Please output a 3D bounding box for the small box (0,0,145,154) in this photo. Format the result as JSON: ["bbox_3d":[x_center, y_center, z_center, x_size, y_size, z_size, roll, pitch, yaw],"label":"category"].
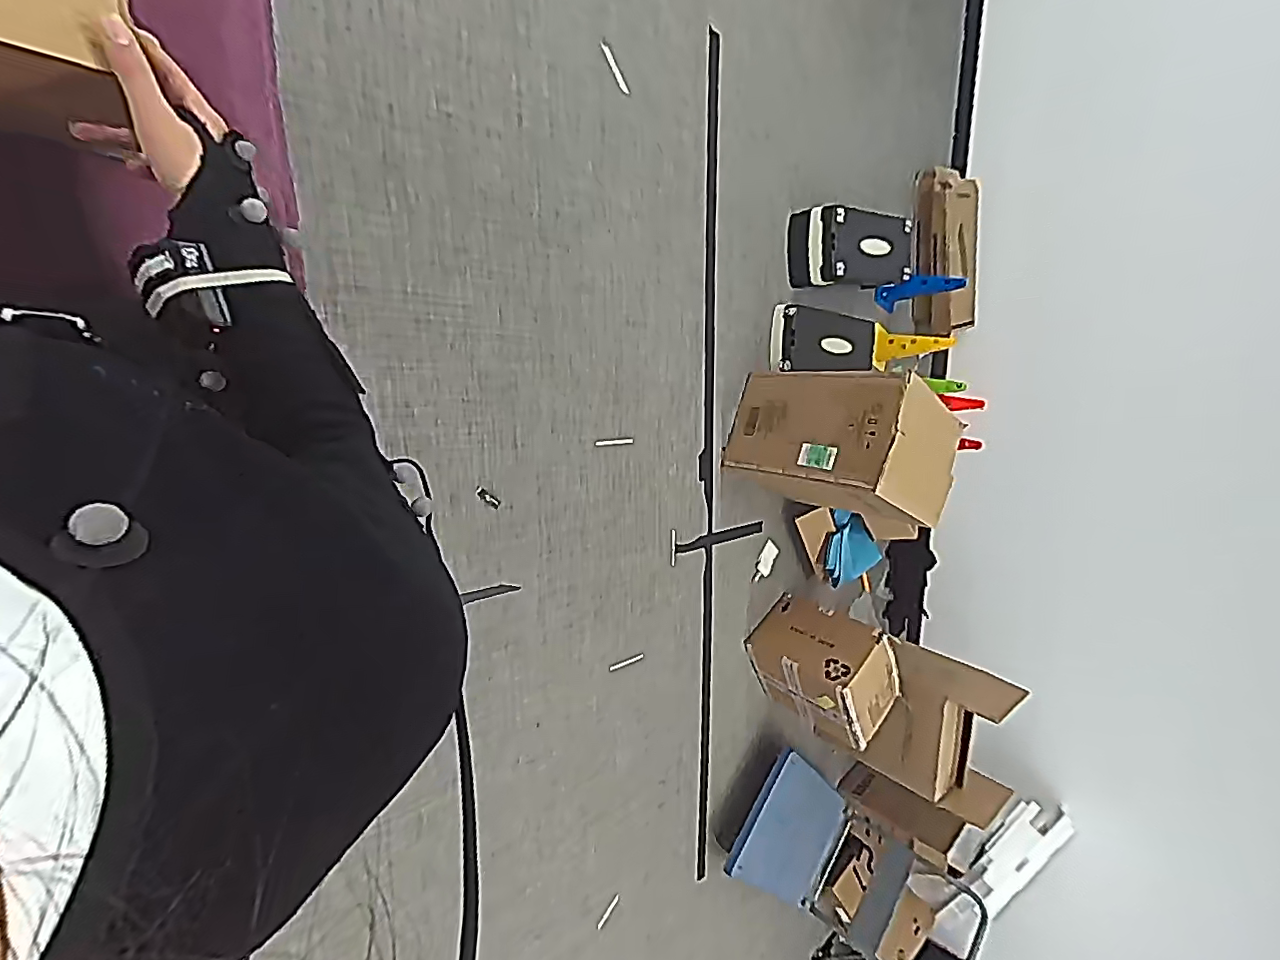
[{"bbox_3d":[-0.437,-0.334,0.336,0.179,0.176,0.168,-6,101,-40],"label":"small box"}]
